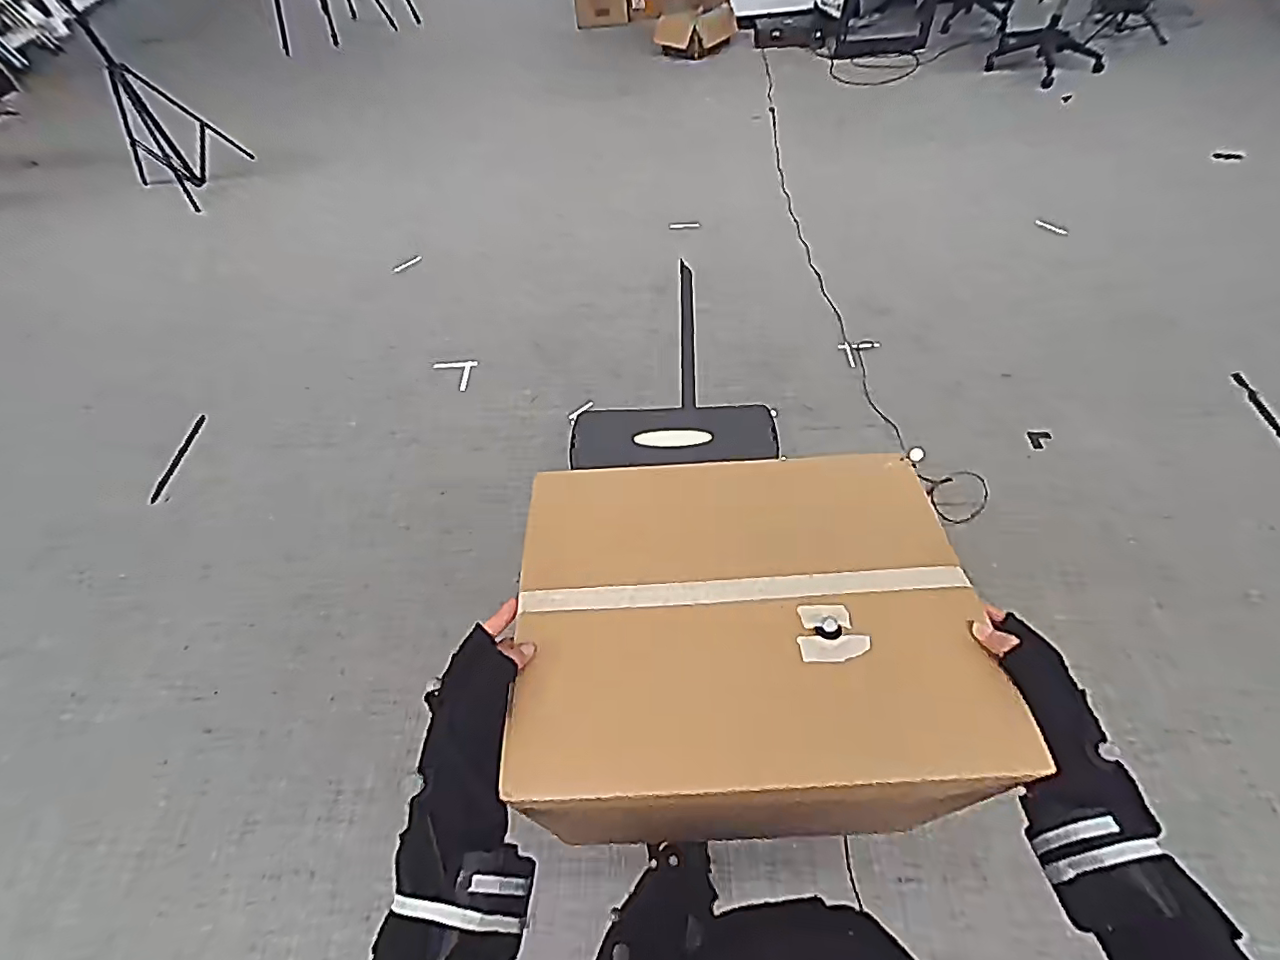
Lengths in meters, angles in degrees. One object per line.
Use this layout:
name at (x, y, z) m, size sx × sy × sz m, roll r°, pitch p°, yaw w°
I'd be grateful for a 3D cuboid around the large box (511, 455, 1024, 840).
large box at (0.095, 0.197, 0.619) m, size 0.408 × 0.320 × 0.320 m, roll -3°, pitch 50°, yaw 1°
